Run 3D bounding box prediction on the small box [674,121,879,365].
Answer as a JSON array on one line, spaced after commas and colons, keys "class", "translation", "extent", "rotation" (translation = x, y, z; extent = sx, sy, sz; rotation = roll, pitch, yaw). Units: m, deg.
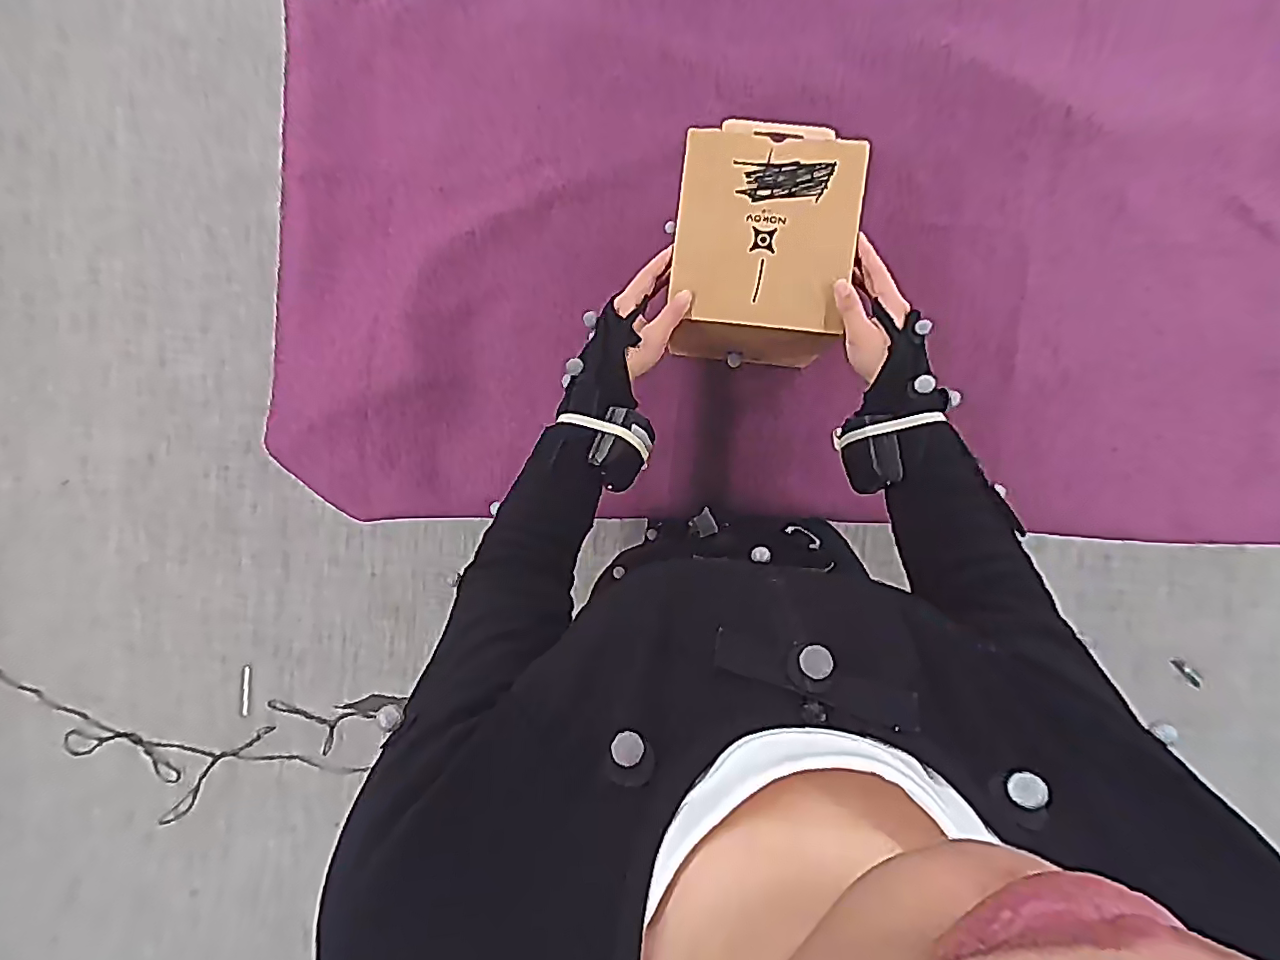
[{"class": "small box", "translation": [0.127, -0.230, 0.564], "extent": [0.168, 0.176, 0.179], "rotation": [7, 92, 5]}]
